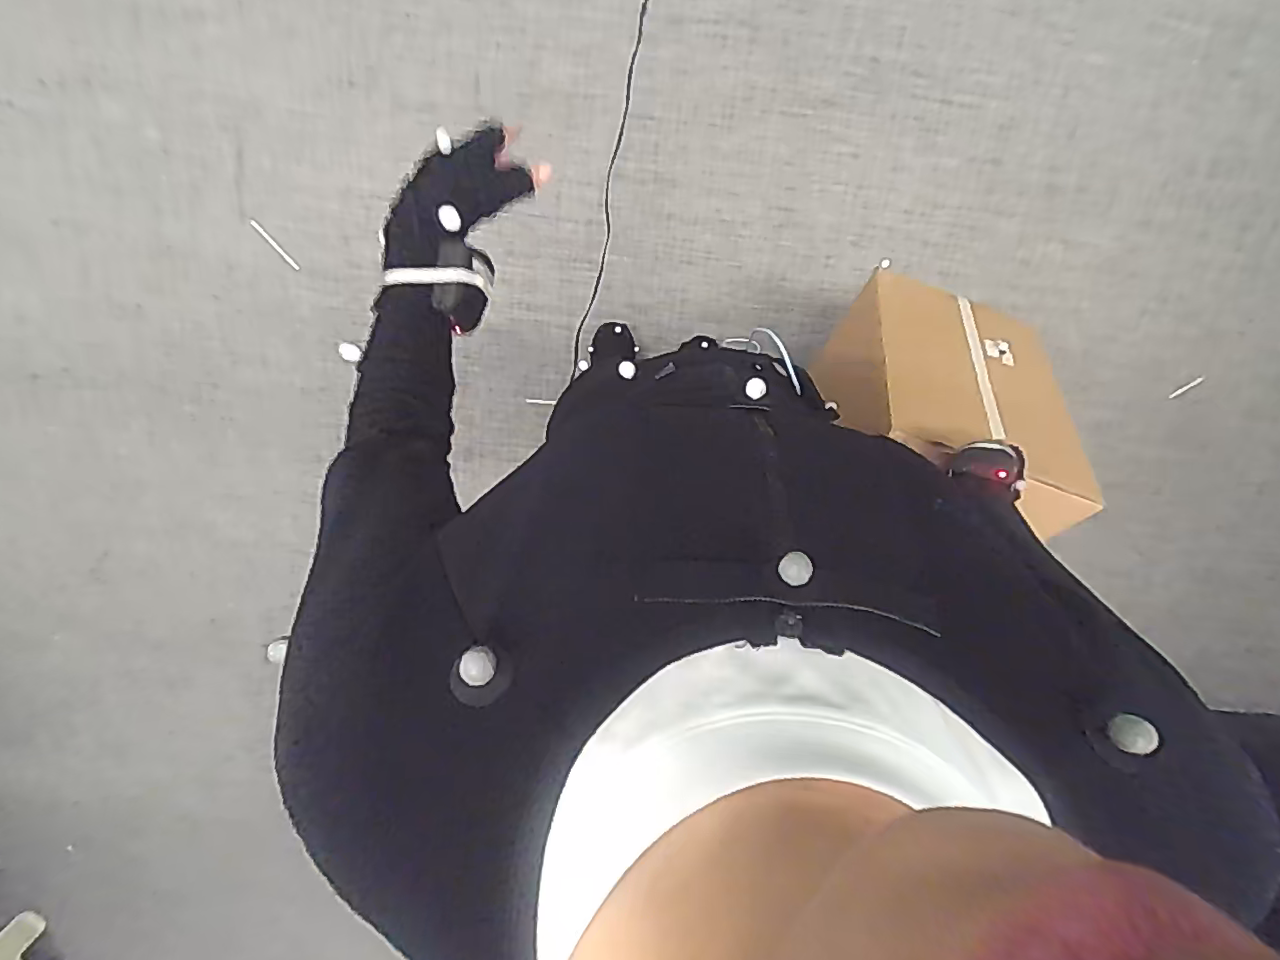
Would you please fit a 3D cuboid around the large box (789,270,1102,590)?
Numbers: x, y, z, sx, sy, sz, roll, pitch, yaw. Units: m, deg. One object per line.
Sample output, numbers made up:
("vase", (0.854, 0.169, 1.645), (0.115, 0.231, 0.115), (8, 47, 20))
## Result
("large box", (0.472, -0.082, 0.940), (0.320, 0.408, 0.320), (20, 142, -4))
